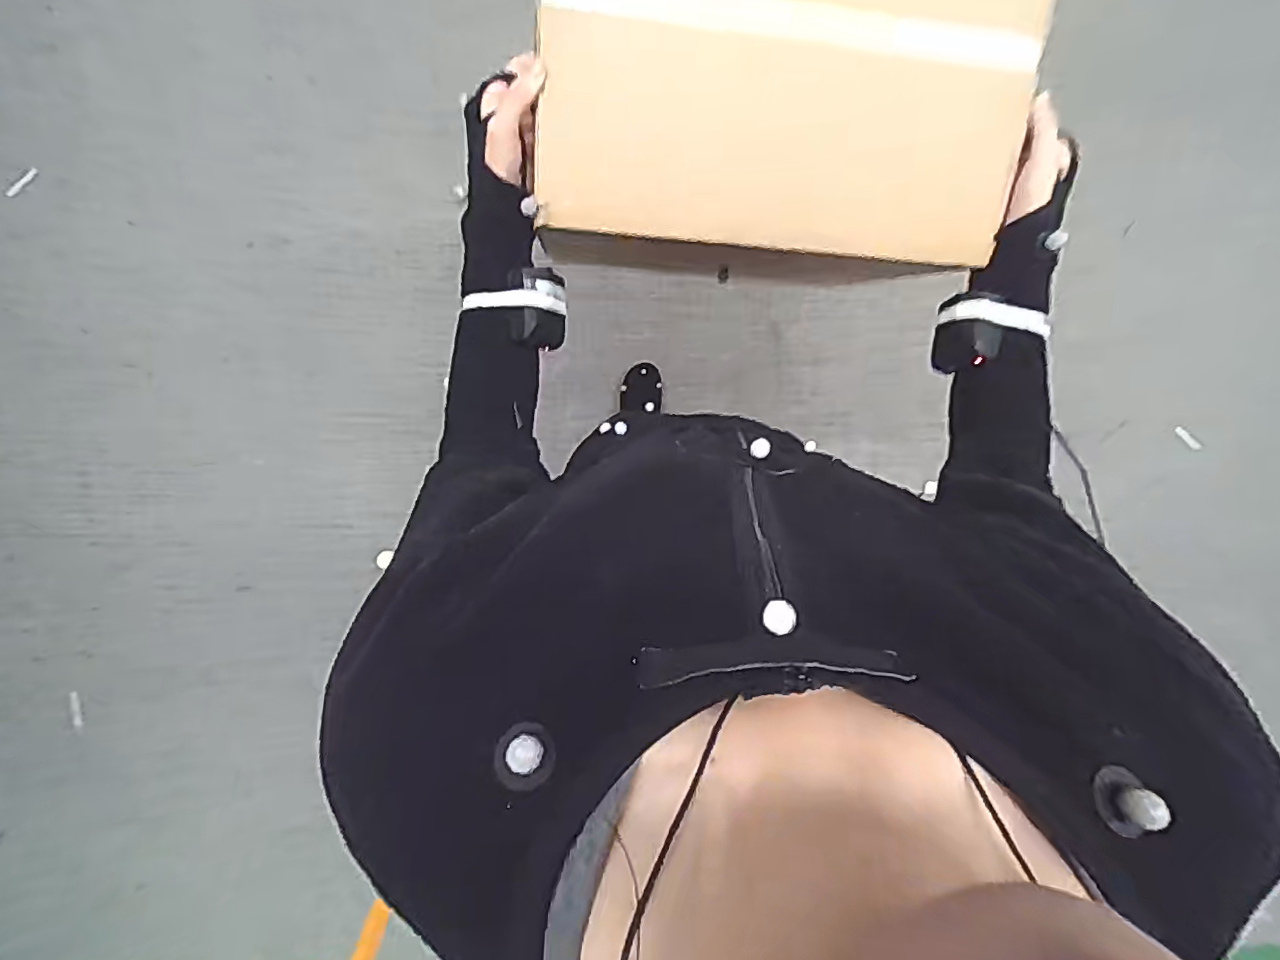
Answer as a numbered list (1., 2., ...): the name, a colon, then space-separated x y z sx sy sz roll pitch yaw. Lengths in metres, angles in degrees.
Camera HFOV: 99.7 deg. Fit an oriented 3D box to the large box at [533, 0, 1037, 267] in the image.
1. large box: 0.106 -0.403 0.565 0.408 0.320 0.320 2 107 -7
